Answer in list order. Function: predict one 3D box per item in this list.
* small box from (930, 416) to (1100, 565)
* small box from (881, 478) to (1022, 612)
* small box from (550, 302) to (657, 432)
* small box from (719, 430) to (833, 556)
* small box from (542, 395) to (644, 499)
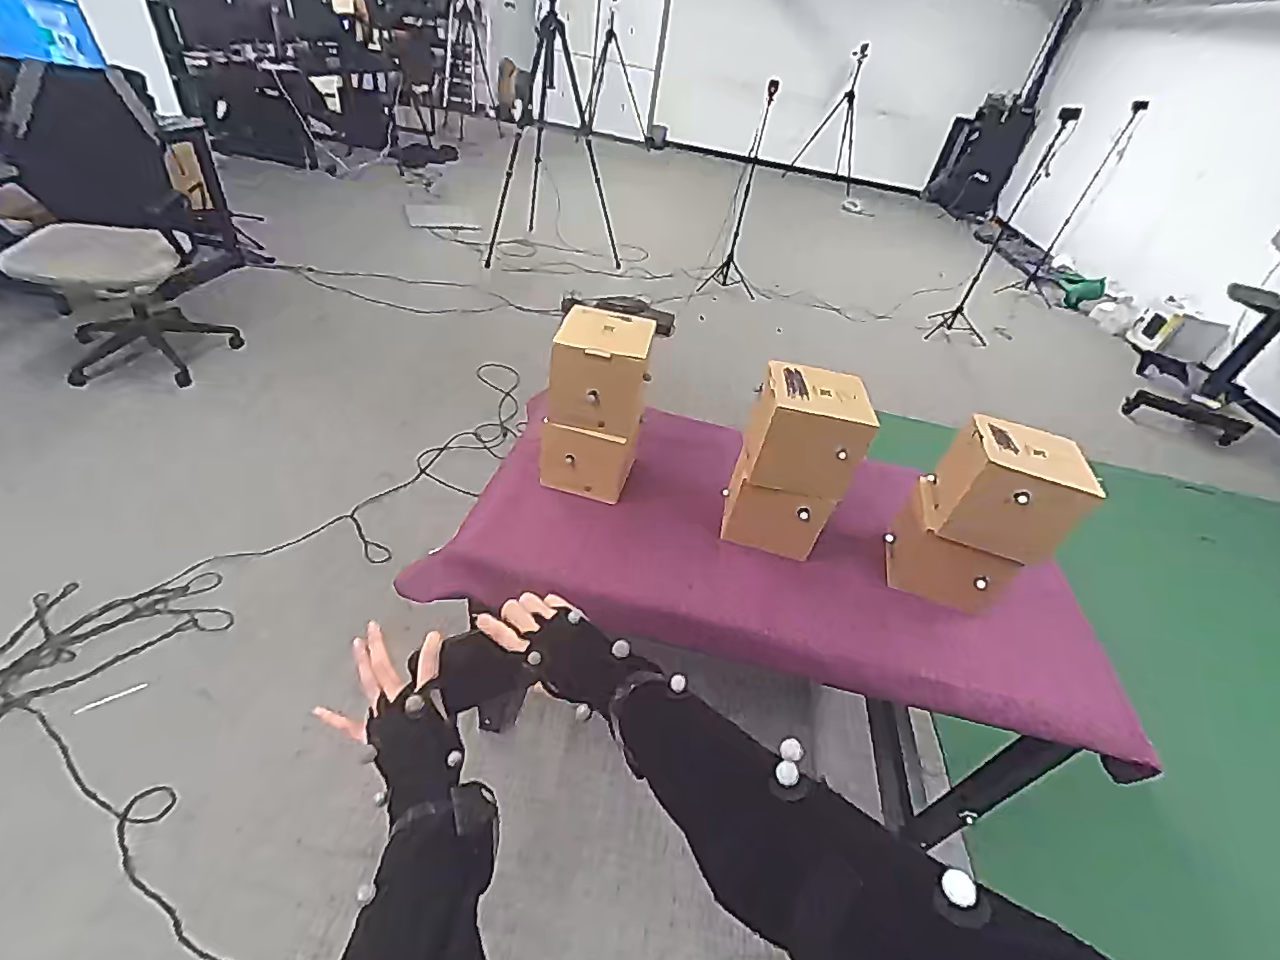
[{"bbox_3d":[0.625,0.019,0.936,0.179,0.176,0.168,20,41,9],"label":"small box"},{"bbox_3d":[0.595,0.130,1.054,0.179,0.176,0.168,19,40,10],"label":"small box"},{"bbox_3d":[-0.072,-0.214,1.038,0.168,0.176,0.179,13,41,1],"label":"small box"},{"bbox_3d":[0.272,0.030,1.090,0.179,0.176,0.168,15,40,5],"label":"small box"},{"bbox_3d":[-0.099,-0.087,1.138,0.168,0.176,0.179,16,40,5],"label":"small box"}]
